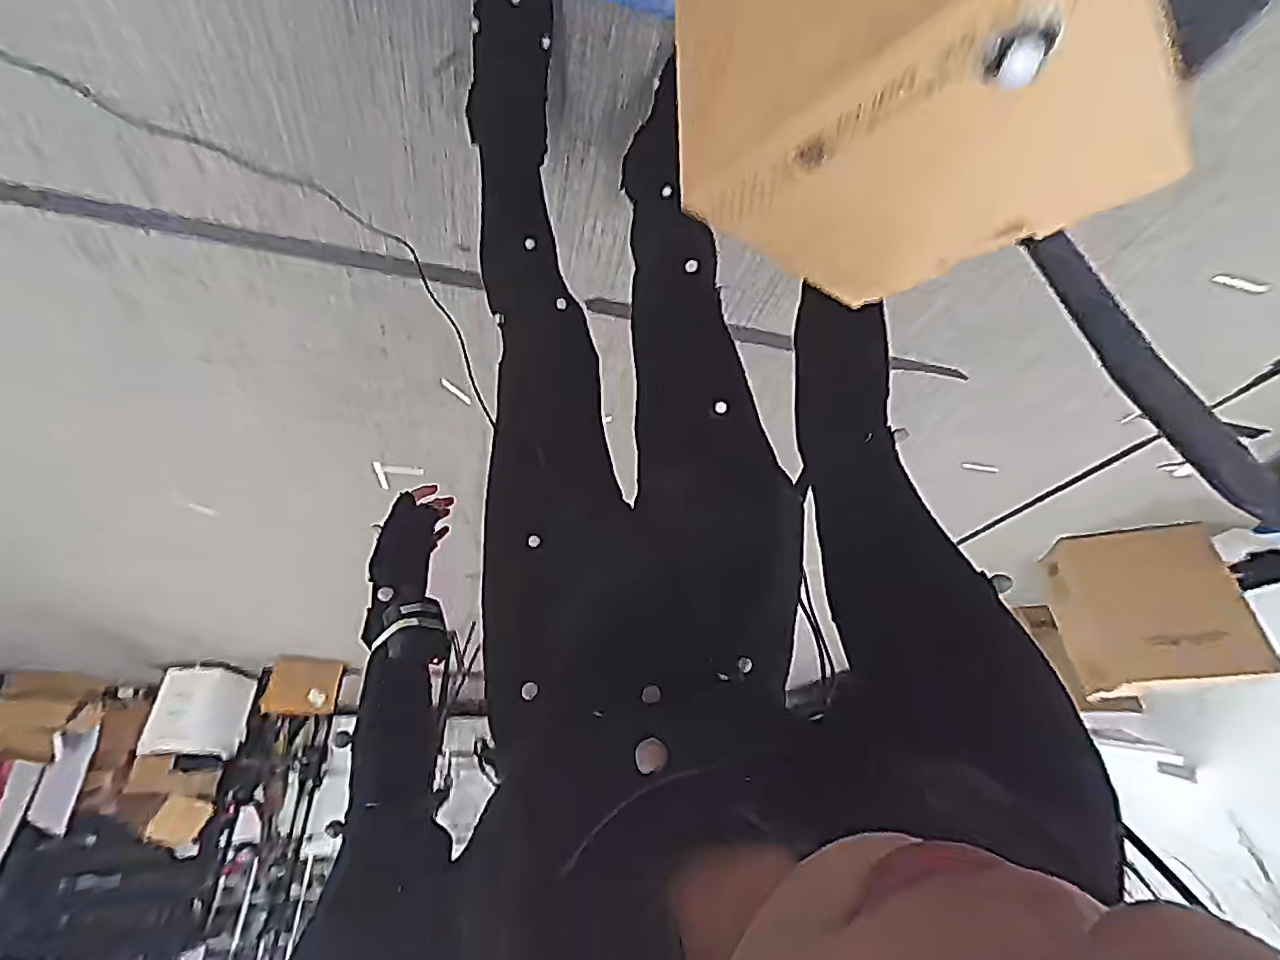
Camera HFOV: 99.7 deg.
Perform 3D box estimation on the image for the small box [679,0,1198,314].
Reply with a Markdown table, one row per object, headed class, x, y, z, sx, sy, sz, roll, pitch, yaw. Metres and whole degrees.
| class | x | y | z | sx | sy | sz | roll | pitch | yaw |
| --- | --- | --- | --- | --- | --- | --- | --- | --- | --- |
| small box | 0.133 | -0.212 | 0.264 | 0.176 | 0.179 | 0.168 | 6 | 169 | -40 |
